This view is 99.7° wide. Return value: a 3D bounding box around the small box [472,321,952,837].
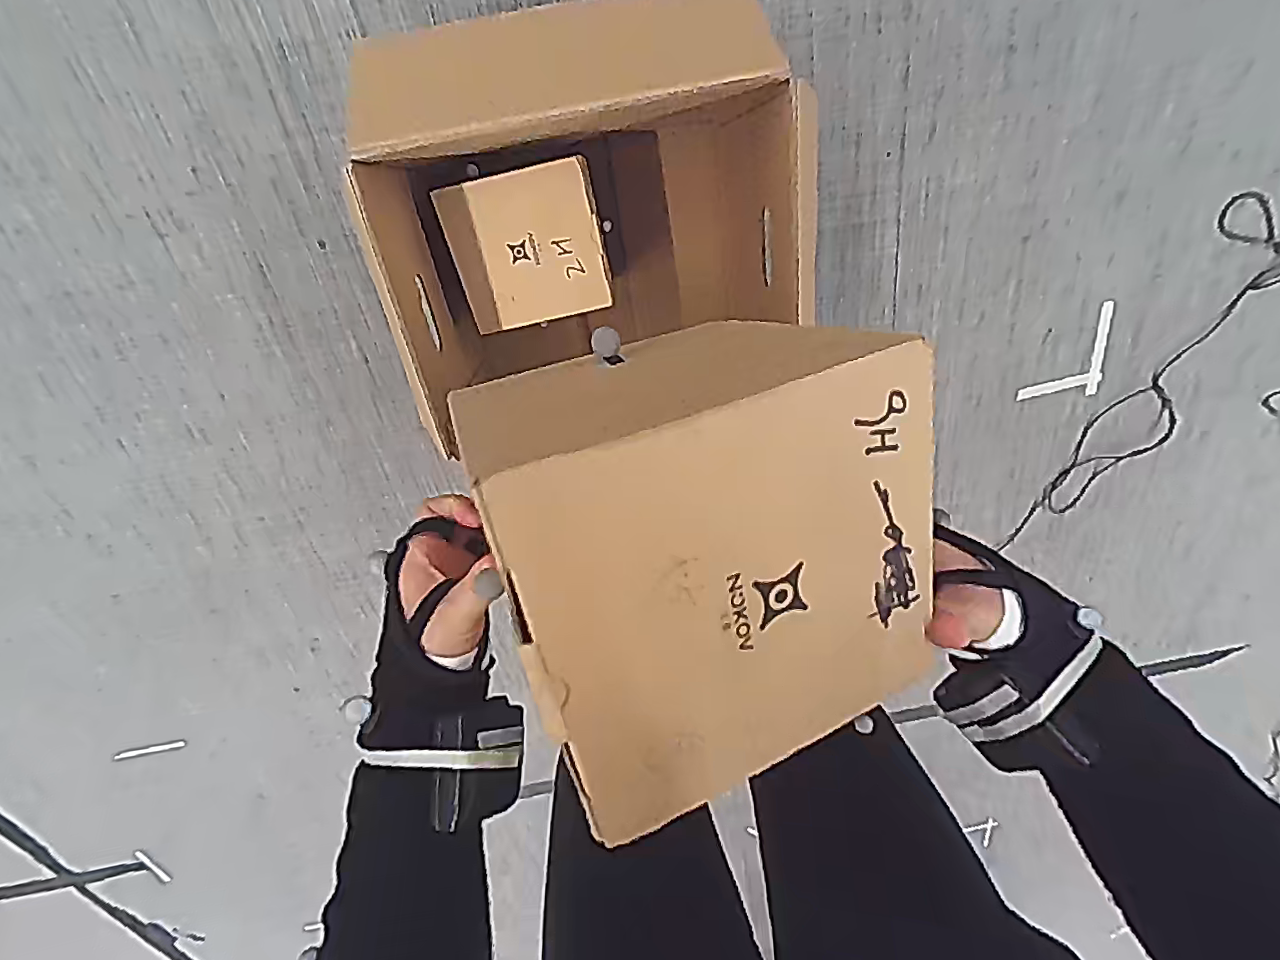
[{"bbox_3d":[0.021,0.019,0.276,0.179,0.176,0.168,-18,112,-15],"label":"small box"}]
